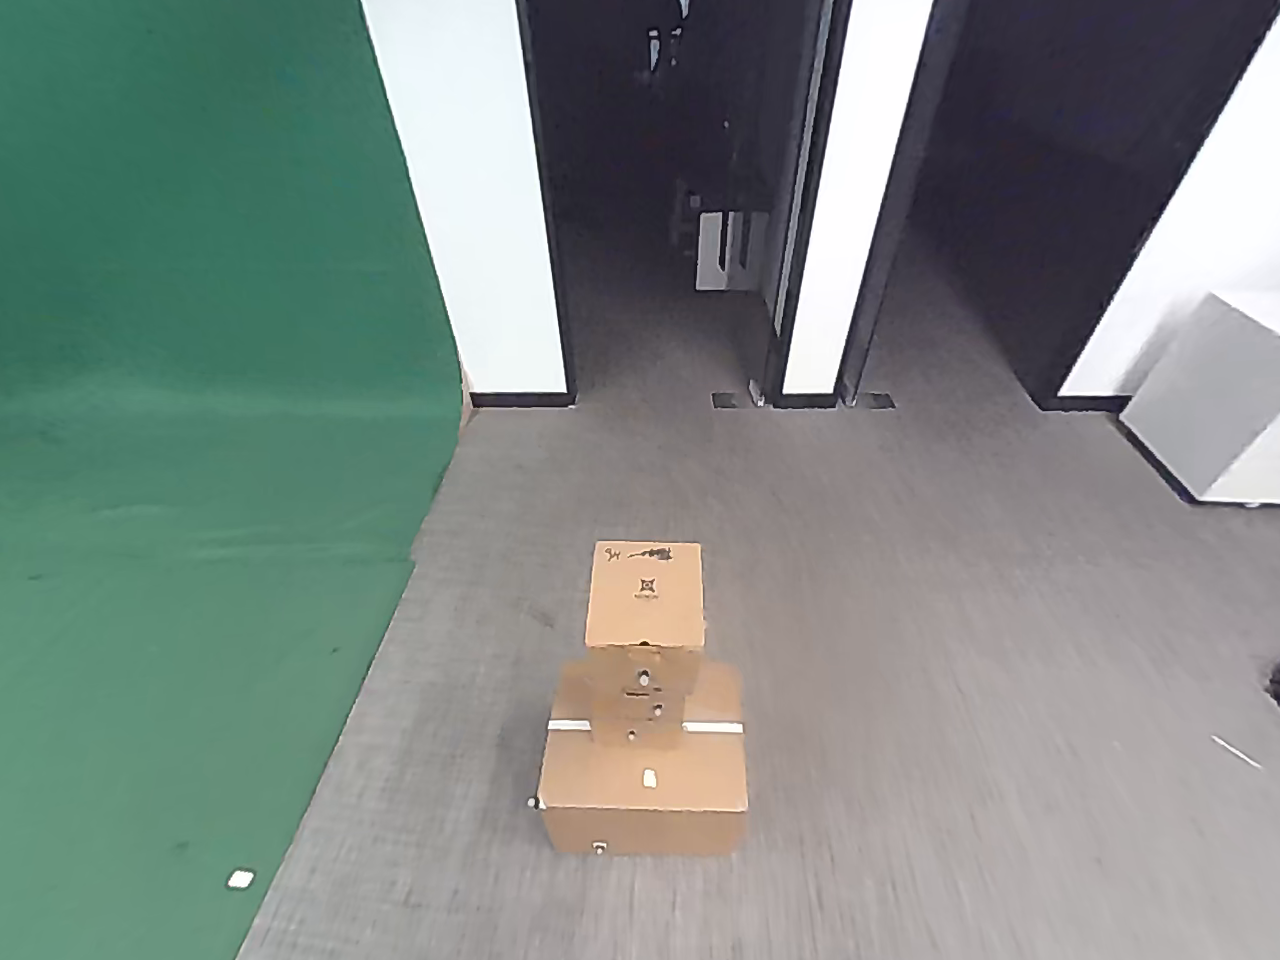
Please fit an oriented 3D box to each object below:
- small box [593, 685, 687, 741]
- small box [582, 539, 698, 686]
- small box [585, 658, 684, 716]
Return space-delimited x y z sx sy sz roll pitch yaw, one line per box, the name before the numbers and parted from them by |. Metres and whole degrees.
small box | 0.001 0.422 1.105 0.179 0.176 0.168 0 49 1
small box | 0.007 0.213 0.855 0.168 0.176 0.179 1 49 2
small box | -0.003 0.315 0.983 0.168 0.176 0.179 1 48 1
